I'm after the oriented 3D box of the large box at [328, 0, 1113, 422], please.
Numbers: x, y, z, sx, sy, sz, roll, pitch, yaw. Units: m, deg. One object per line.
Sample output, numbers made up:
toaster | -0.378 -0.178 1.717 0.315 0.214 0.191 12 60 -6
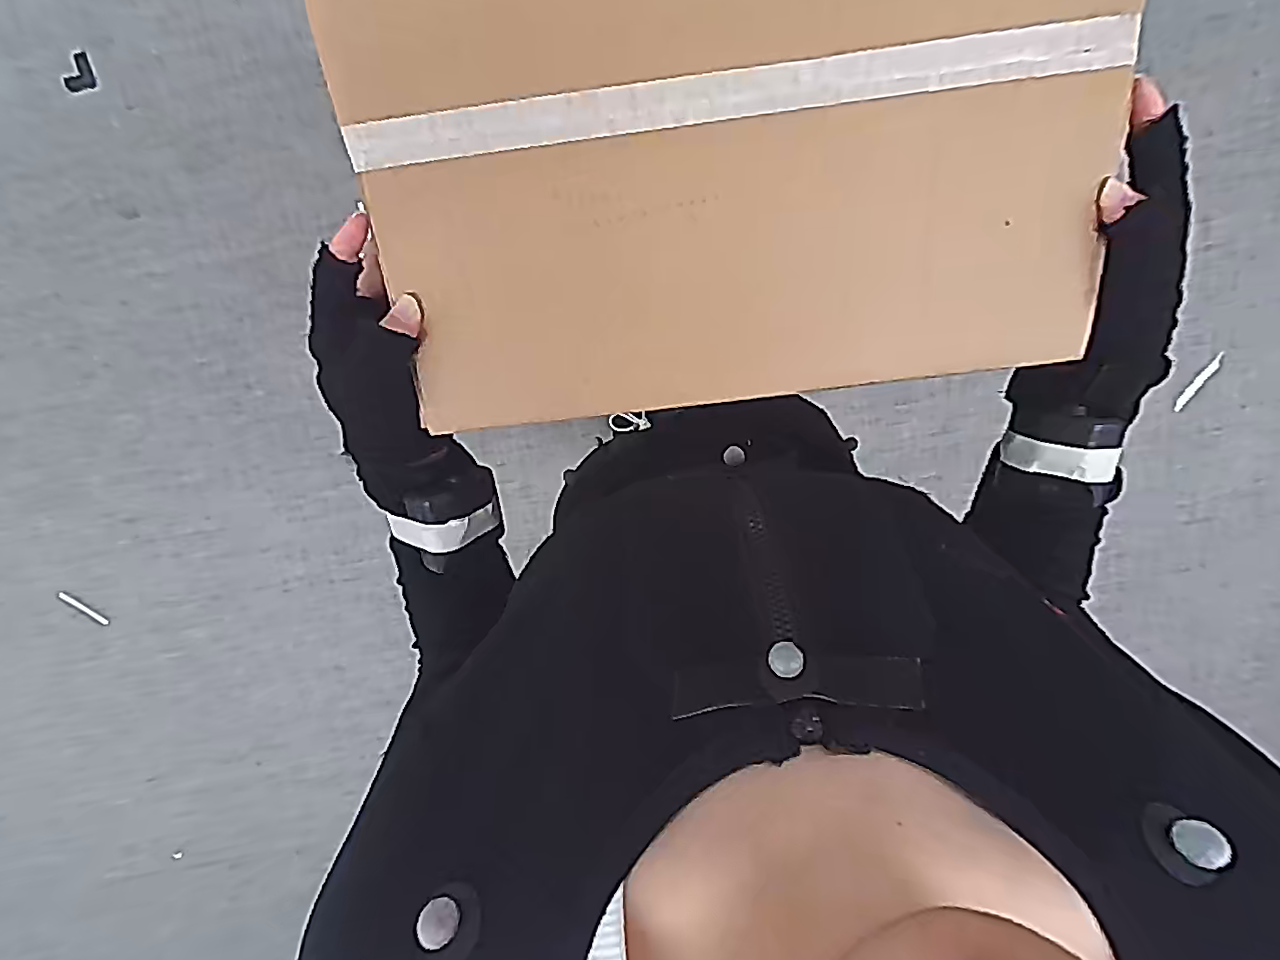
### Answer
large box | 0.044 -0.254 0.431 0.408 0.320 0.320 -7 111 1
